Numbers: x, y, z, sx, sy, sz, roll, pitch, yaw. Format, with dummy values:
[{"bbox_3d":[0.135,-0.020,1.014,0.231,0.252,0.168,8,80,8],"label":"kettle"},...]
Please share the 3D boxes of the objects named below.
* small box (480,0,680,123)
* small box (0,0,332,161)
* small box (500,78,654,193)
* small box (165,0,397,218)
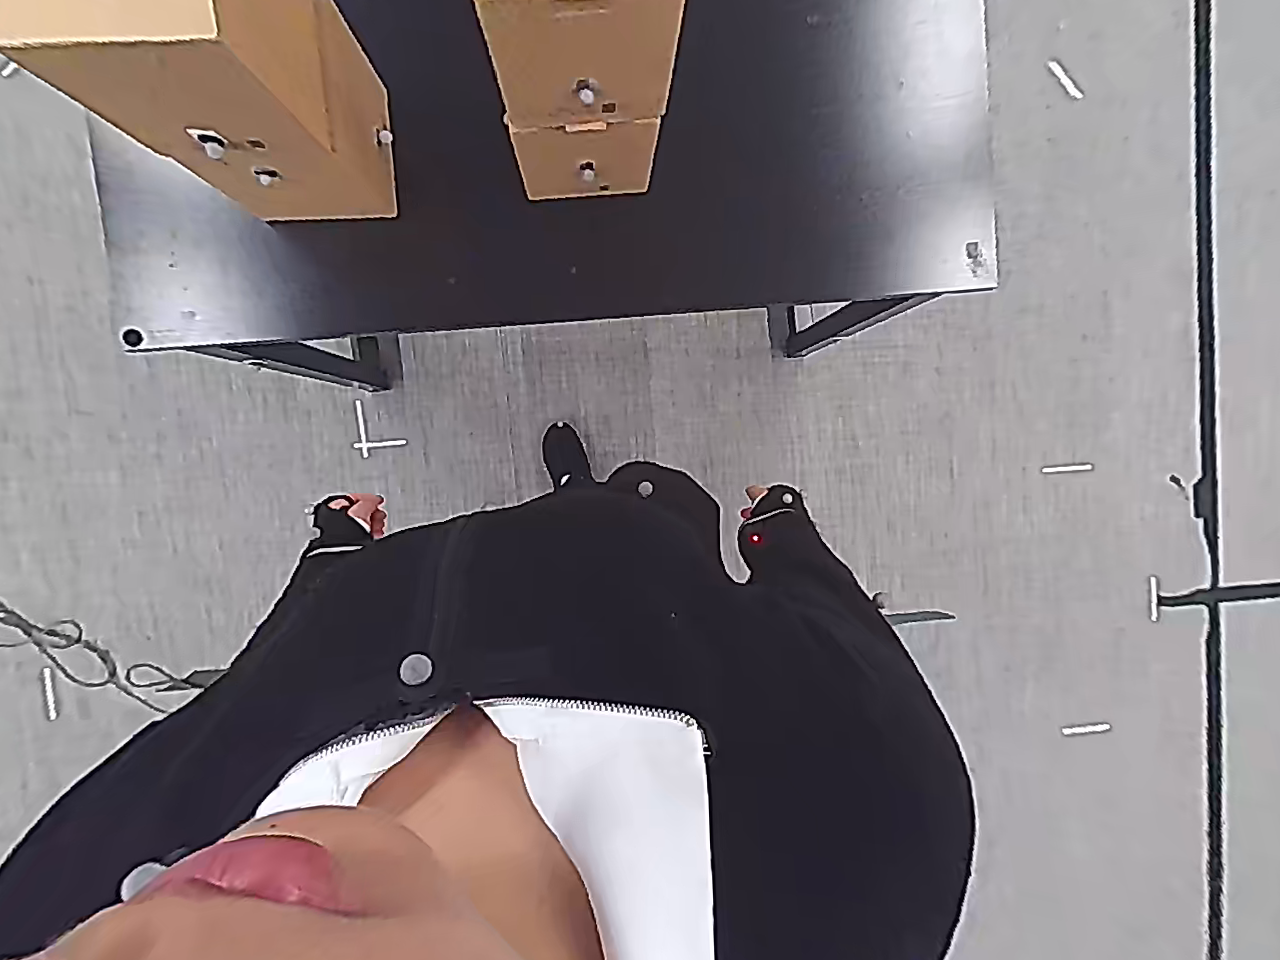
[{"bbox_3d":[-0.061,-0.467,0.492,0.168,0.176,0.179,-6,93,-3],"label":"small box"},{"bbox_3d":[-0.400,-0.413,0.473,0.168,0.176,0.179,-5,95,-2],"label":"small box"},{"bbox_3d":[-0.076,-0.471,0.658,0.168,0.176,0.179,-6,94,-4],"label":"small box"},{"bbox_3d":[-0.410,-0.424,0.634,0.179,0.176,0.168,-4,94,-5],"label":"small box"}]
